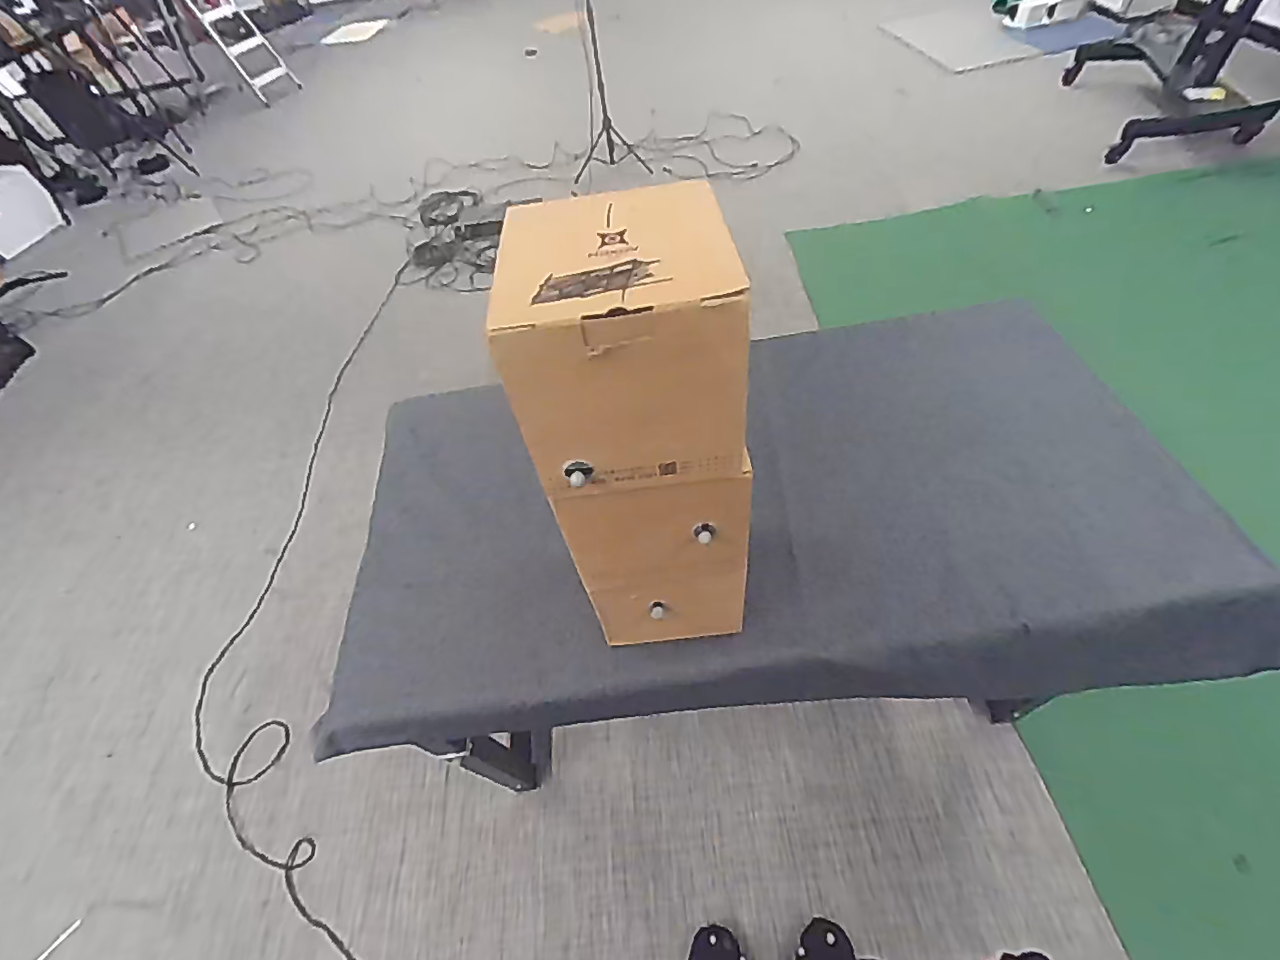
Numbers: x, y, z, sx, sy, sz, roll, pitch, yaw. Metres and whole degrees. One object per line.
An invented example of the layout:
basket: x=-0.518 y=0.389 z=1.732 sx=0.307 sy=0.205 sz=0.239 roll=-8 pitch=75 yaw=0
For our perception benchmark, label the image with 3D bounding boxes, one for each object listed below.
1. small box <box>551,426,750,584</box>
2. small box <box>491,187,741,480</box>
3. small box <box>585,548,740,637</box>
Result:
small box: x=0.013 y=-0.006 z=0.576 sx=0.179 sy=0.176 sz=0.168 roll=-8 pitch=49 yaw=3
small box: x=-0.011 y=-0.113 z=0.453 sx=0.168 sy=0.176 sz=0.179 roll=-6 pitch=49 yaw=2
small box: x=0.032 y=0.091 z=0.704 sx=0.179 sy=0.176 sz=0.168 roll=-7 pitch=51 yaw=3
